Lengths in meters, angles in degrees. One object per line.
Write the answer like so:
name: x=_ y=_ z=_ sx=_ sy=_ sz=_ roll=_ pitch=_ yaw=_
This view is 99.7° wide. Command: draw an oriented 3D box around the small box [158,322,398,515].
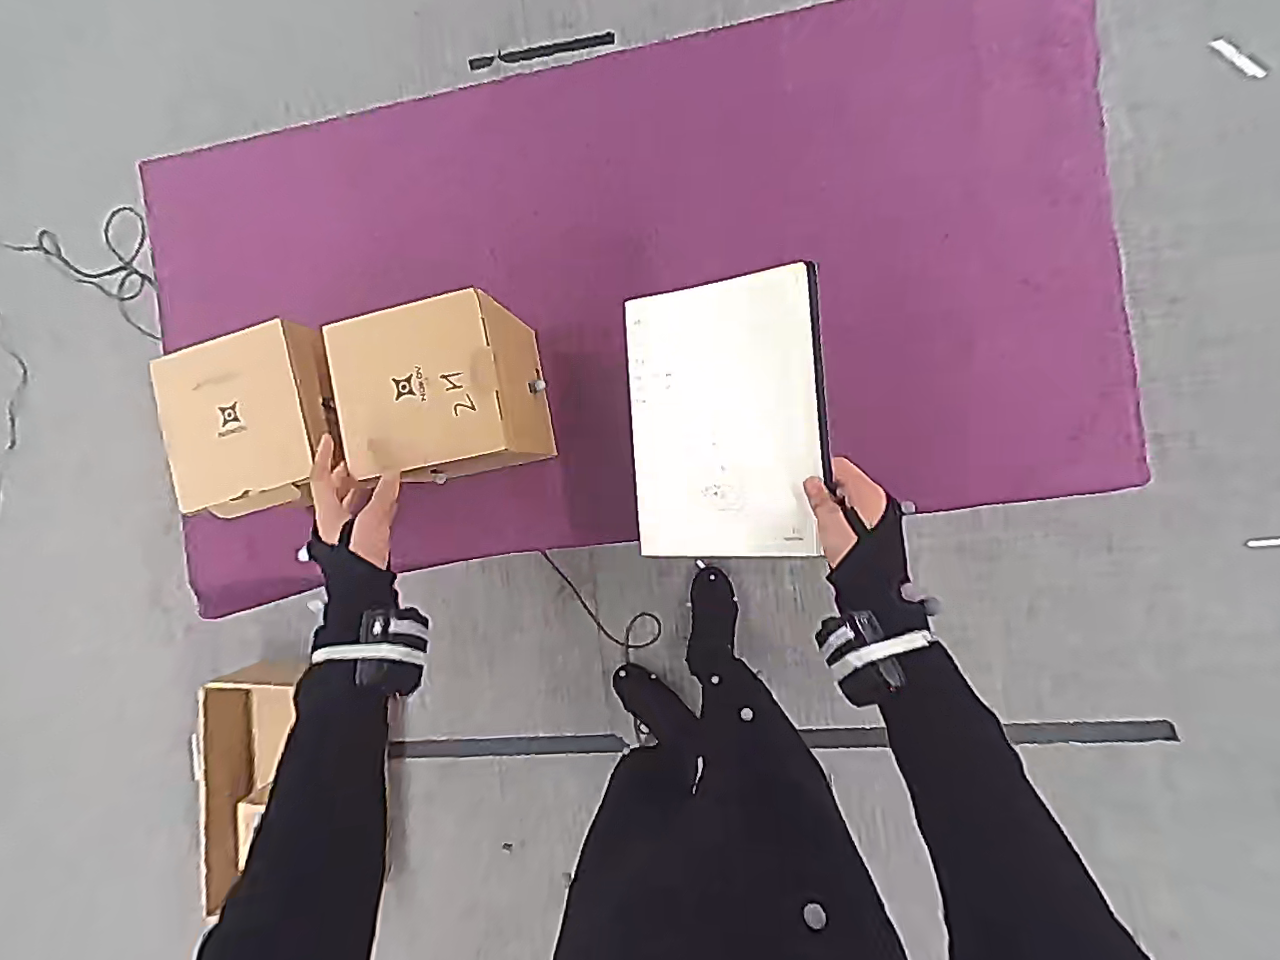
small box: x=-0.416 y=-0.065 z=0.654 sx=0.168 sy=0.176 sz=0.179 roll=-14 pitch=88 yaw=7

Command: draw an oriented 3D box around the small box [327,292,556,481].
small box: x=-0.215 y=-0.092 z=0.623 sx=0.179 sy=0.176 sz=0.168 roll=-11 pitch=89 yaw=8
